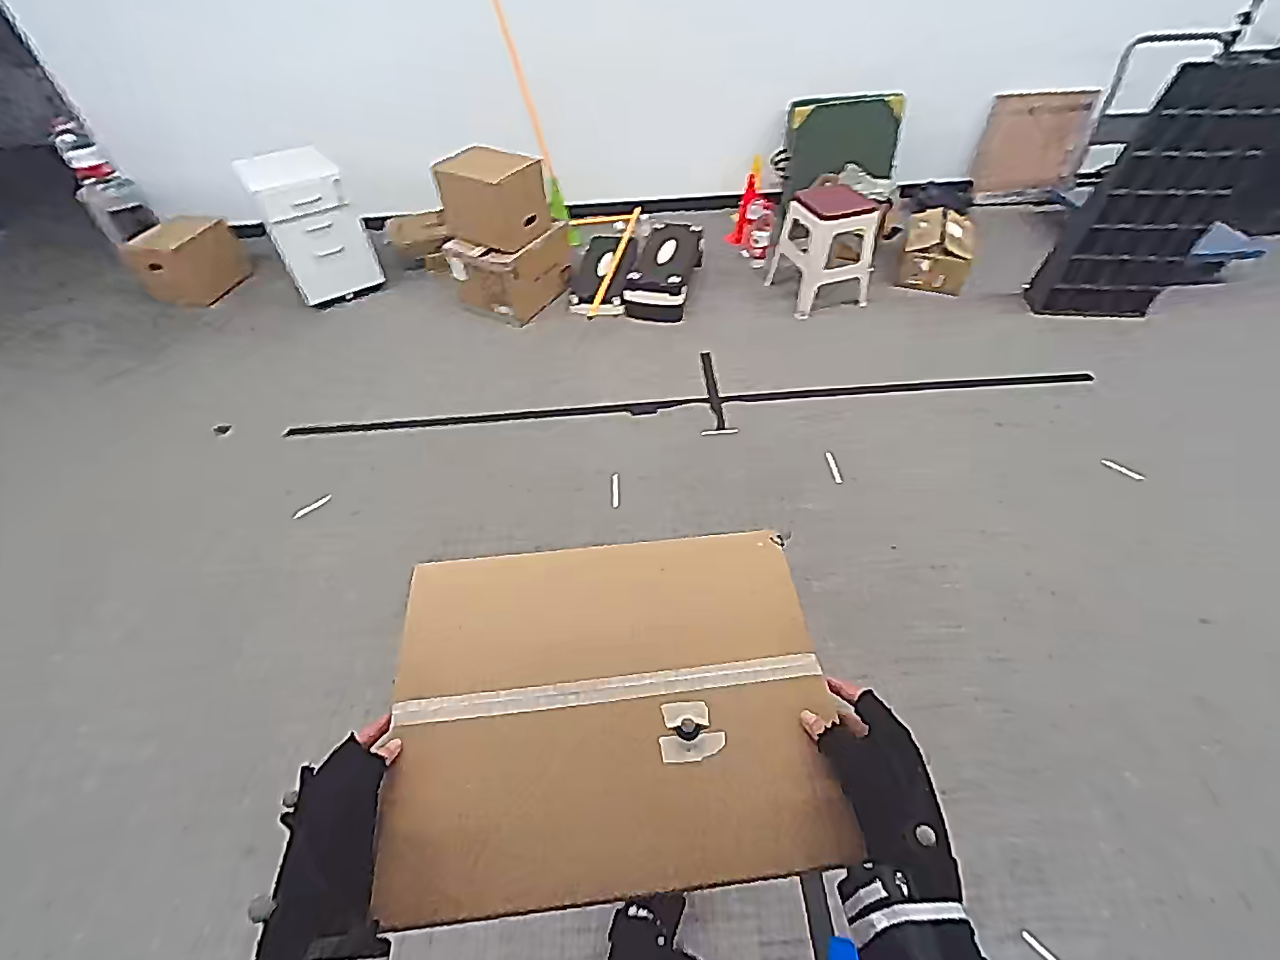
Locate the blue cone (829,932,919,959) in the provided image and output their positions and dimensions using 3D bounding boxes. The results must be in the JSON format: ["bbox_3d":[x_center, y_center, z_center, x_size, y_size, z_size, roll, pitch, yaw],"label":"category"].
[{"bbox_3d":[0.455,0.906,0.922,0.193,0.380,0.192,13,50,13],"label":"blue cone"}]

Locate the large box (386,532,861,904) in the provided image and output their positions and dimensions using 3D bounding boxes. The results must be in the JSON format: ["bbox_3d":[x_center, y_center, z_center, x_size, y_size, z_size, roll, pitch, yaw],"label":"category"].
[{"bbox_3d":[-0.024,0.289,0.650,0.408,0.320,0.320,-4,53,-3],"label":"large box"}]
